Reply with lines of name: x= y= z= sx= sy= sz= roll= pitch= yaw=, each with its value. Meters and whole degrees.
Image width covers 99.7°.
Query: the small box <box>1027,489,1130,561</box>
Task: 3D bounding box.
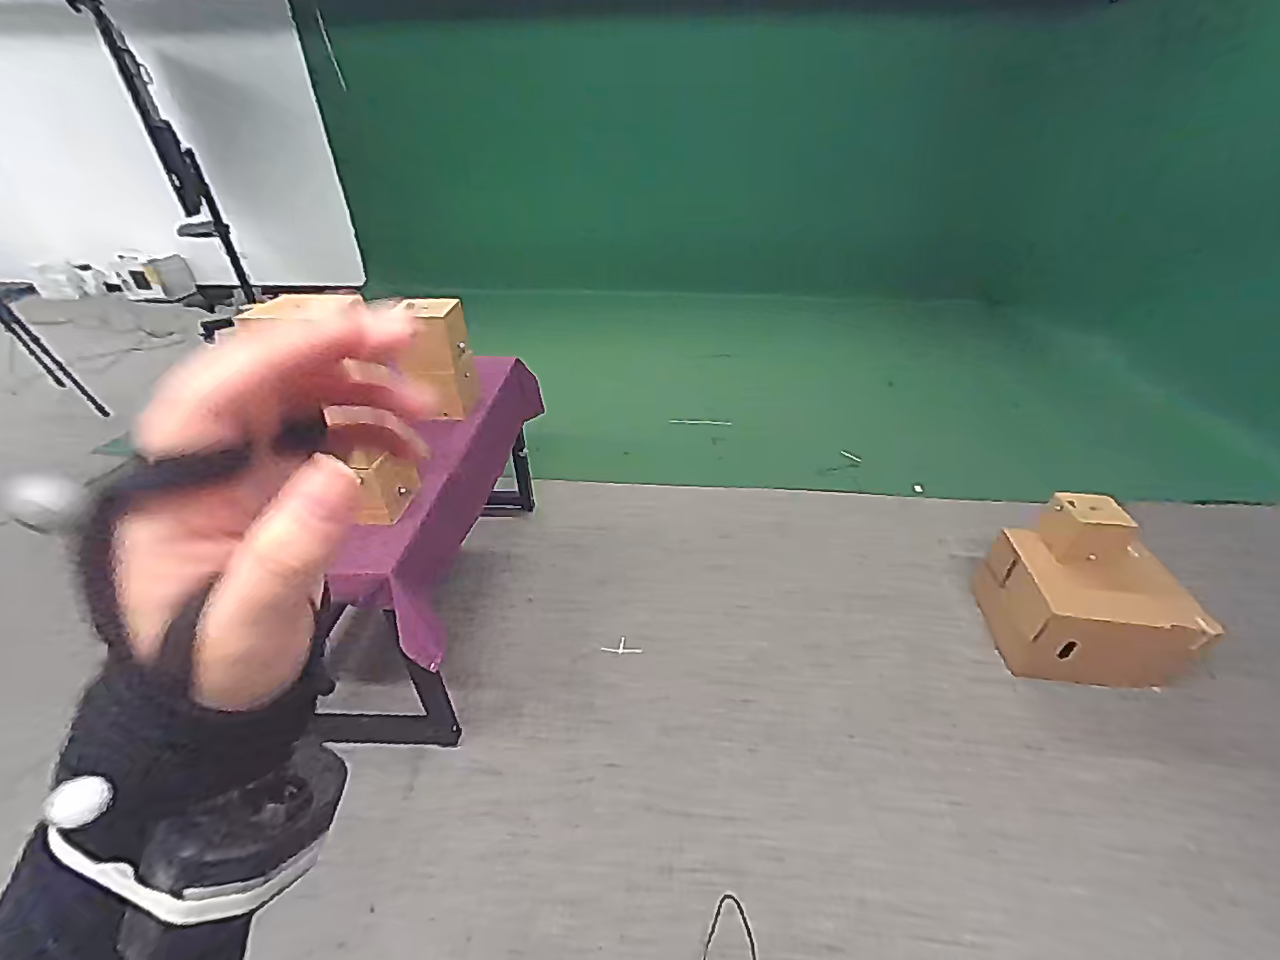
small box: x=1.437 y=0.151 z=1.785 sx=0.179 sy=0.176 sz=0.168 roll=6 pitch=34 yaw=5

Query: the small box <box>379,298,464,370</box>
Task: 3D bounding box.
small box: x=-0.652 y=-0.442 z=1.637 sx=0.179 sy=0.176 sz=0.168 roll=1 pitch=36 yaw=1

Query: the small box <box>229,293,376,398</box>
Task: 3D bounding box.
small box: x=-0.683 y=-0.279 z=1.122 sx=0.179 sy=0.176 sz=0.168 roll=2 pitch=34 yaw=4

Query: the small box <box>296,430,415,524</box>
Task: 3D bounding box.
small box: x=-0.675 y=-0.007 z=1.306 sx=0.179 sy=0.176 sz=0.168 roll=2 pitch=35 yaw=3

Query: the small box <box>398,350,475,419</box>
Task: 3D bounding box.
small box: x=-0.643 y=-0.308 z=1.732 sx=0.168 sy=0.176 sz=0.179 roll=2 pitch=35 yaw=3
